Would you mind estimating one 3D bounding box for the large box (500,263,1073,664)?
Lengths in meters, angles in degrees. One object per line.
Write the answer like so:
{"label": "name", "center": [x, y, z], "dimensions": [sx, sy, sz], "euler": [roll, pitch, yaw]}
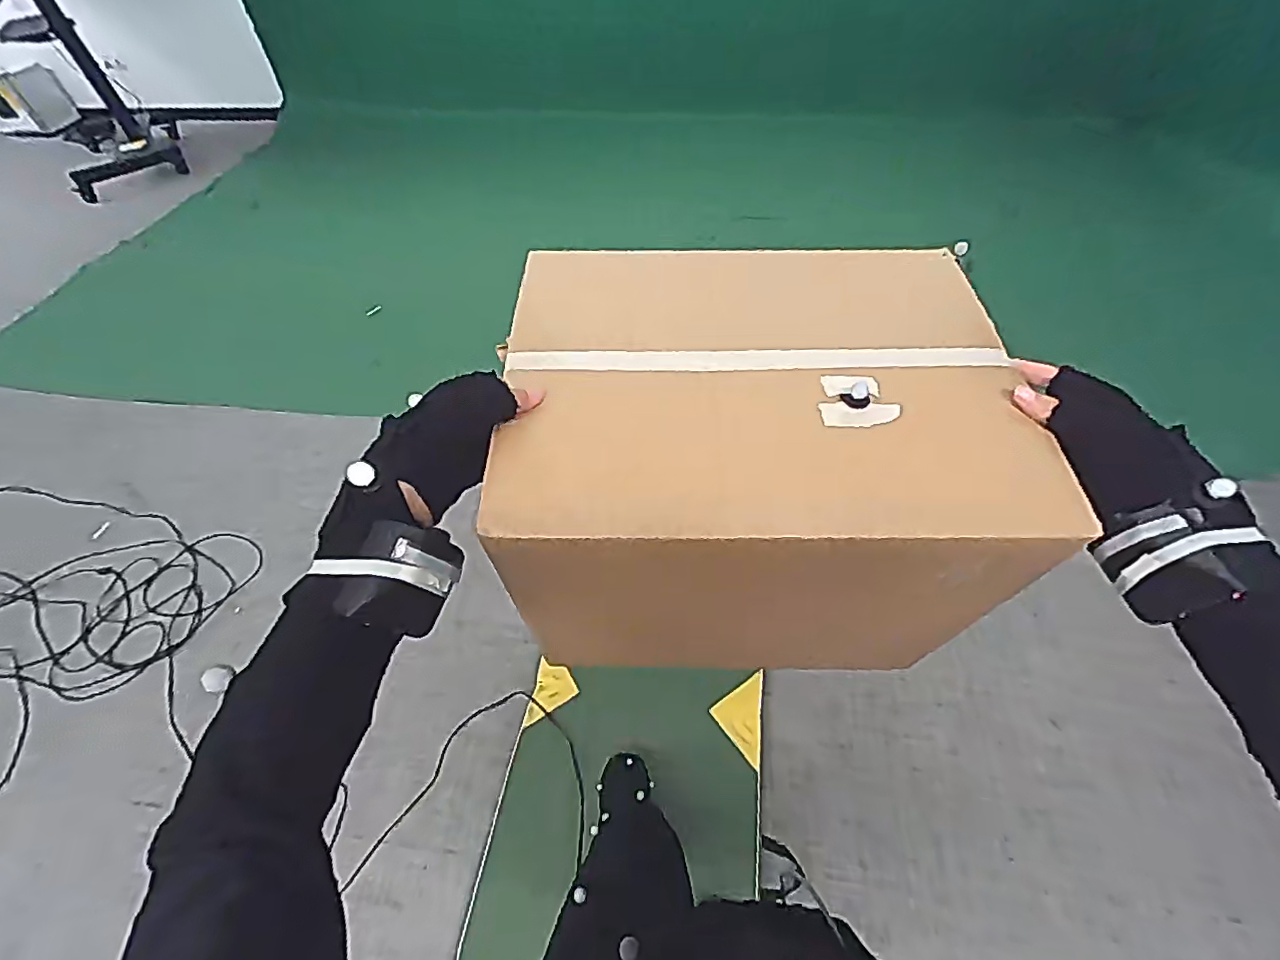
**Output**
{"label": "large box", "center": [0.096, -0.006, 0.572], "dimensions": [0.408, 0.320, 0.320], "euler": [0, 56, -1]}
